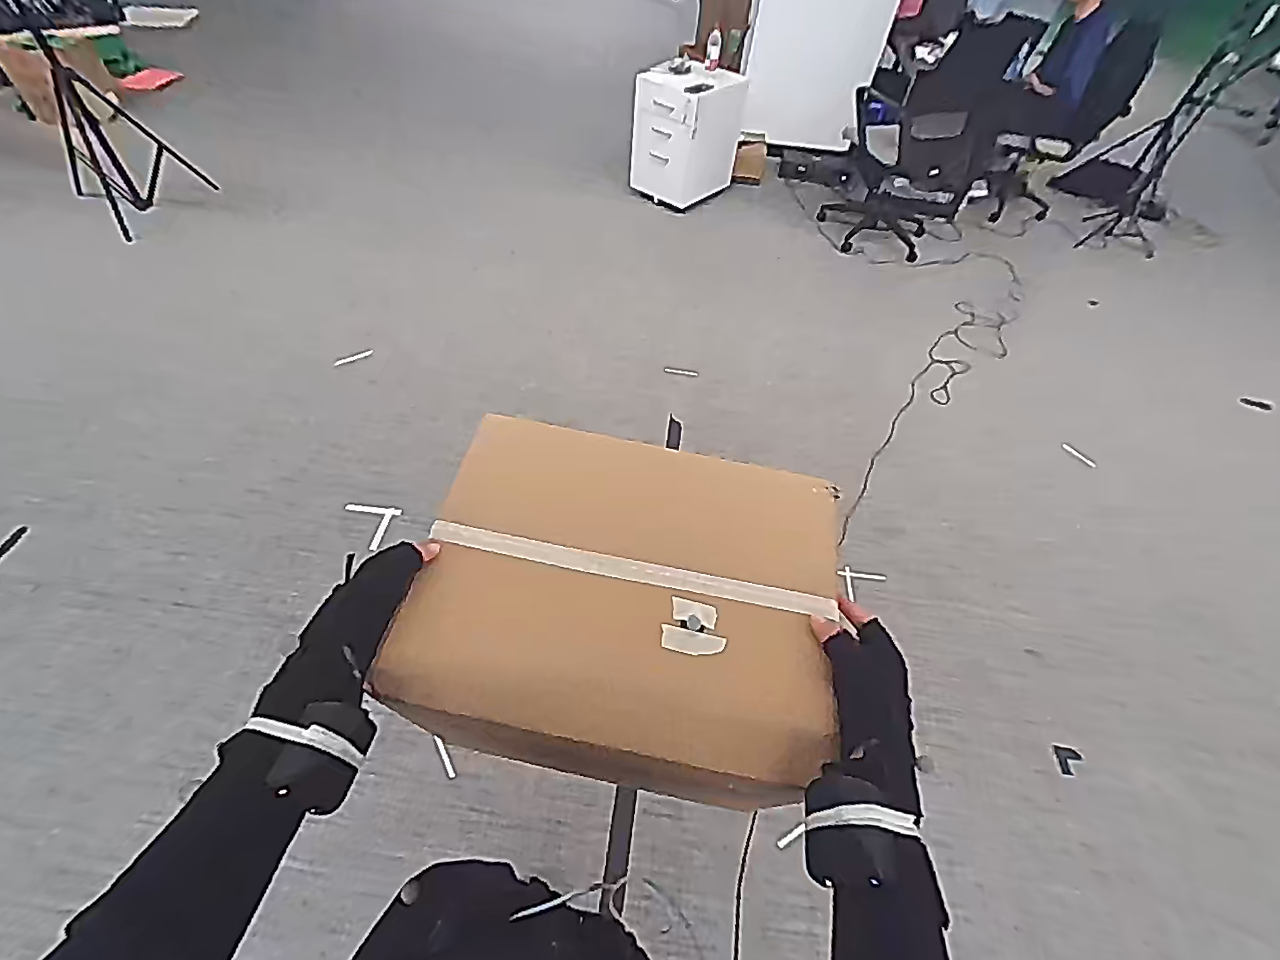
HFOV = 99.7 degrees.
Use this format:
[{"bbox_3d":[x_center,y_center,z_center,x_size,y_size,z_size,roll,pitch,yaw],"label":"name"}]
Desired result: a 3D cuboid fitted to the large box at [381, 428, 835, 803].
[{"bbox_3d":[-0.020,0.179,0.663,0.408,0.320,0.320,11,58,1],"label":"large box"}]
